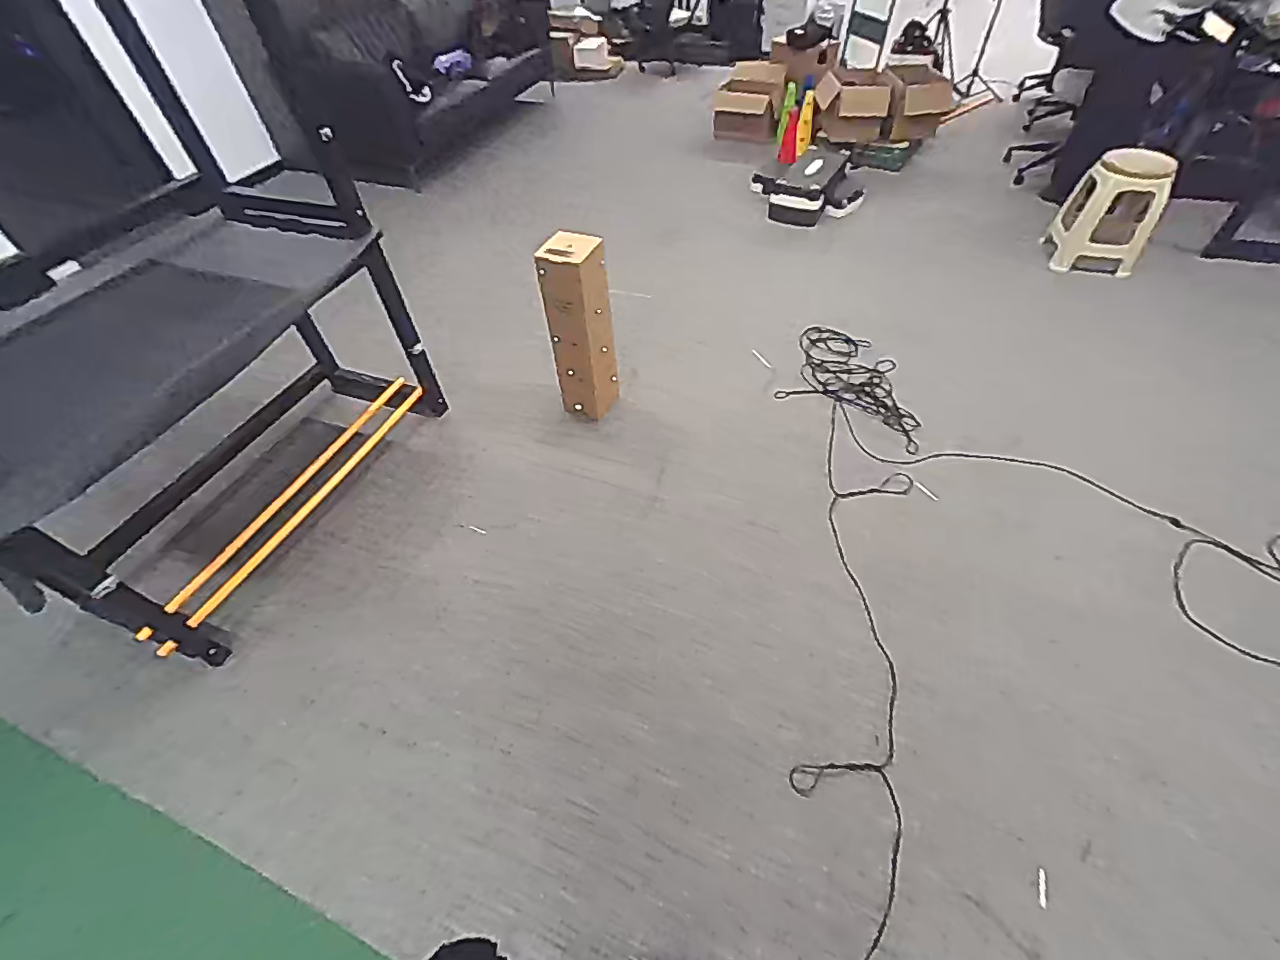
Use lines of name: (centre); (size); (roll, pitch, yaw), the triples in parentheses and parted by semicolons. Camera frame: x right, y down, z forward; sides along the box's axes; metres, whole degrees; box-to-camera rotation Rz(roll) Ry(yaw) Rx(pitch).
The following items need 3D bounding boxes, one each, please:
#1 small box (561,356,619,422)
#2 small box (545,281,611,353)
small box: (-0.193, -0.362, 2.165); (0.168, 0.176, 0.179); (19, 54, 20)
small box: (-0.211, -0.575, 1.918); (0.168, 0.176, 0.179); (18, 53, 17)
